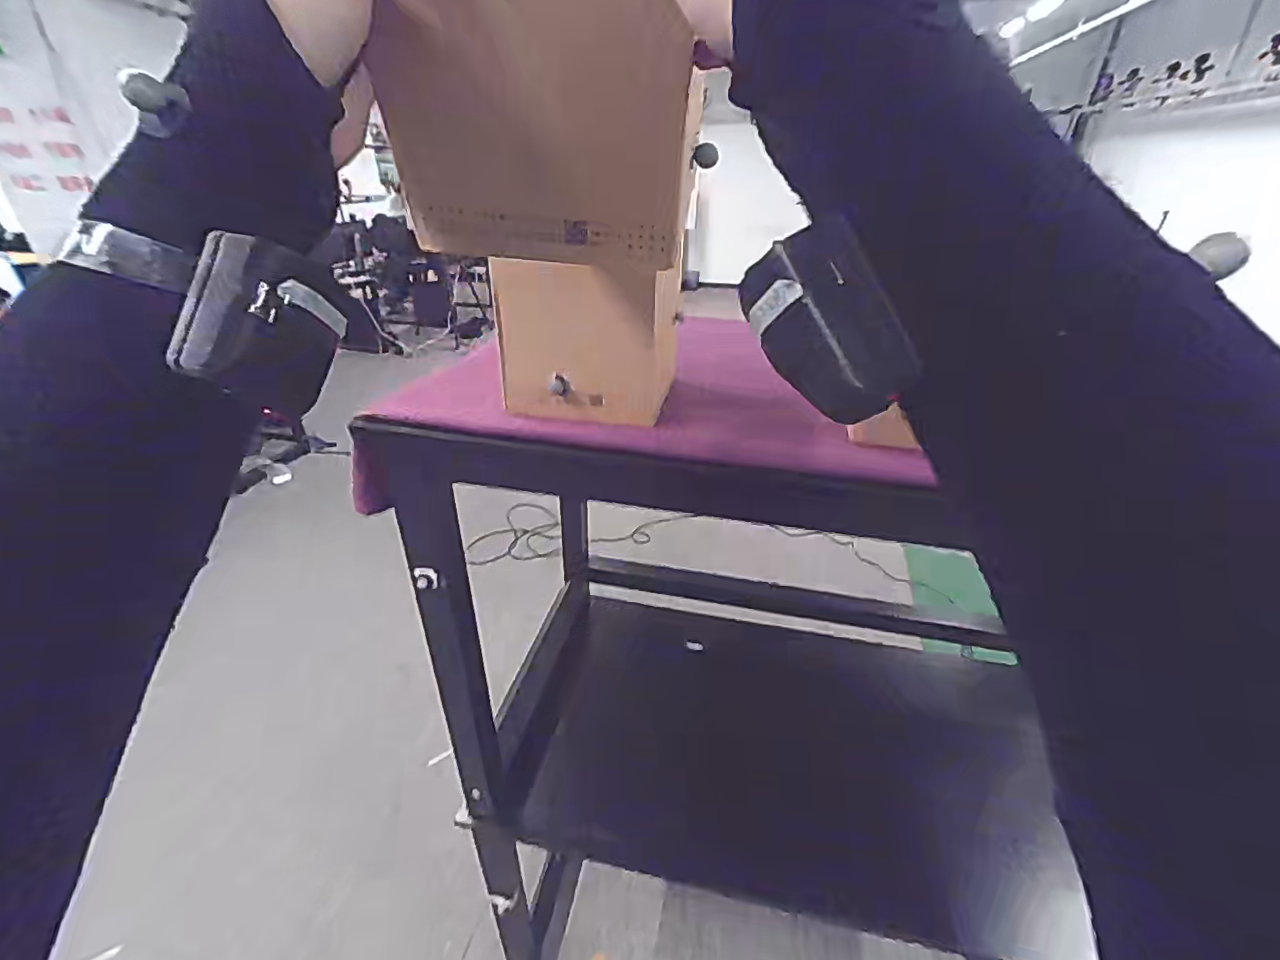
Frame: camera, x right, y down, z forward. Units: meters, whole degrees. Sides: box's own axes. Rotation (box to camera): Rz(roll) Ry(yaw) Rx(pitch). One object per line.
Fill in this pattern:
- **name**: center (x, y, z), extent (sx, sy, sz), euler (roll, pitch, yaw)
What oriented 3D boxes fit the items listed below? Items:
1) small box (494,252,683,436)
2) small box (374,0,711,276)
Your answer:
- **small box**: center (-0.047, -0.164, 0.611), extent (0.168, 0.176, 0.179), euler (6, 28, 10)
- **small box**: center (-0.046, -0.254, 0.343), extent (0.168, 0.176, 0.179), euler (7, 48, 5)
